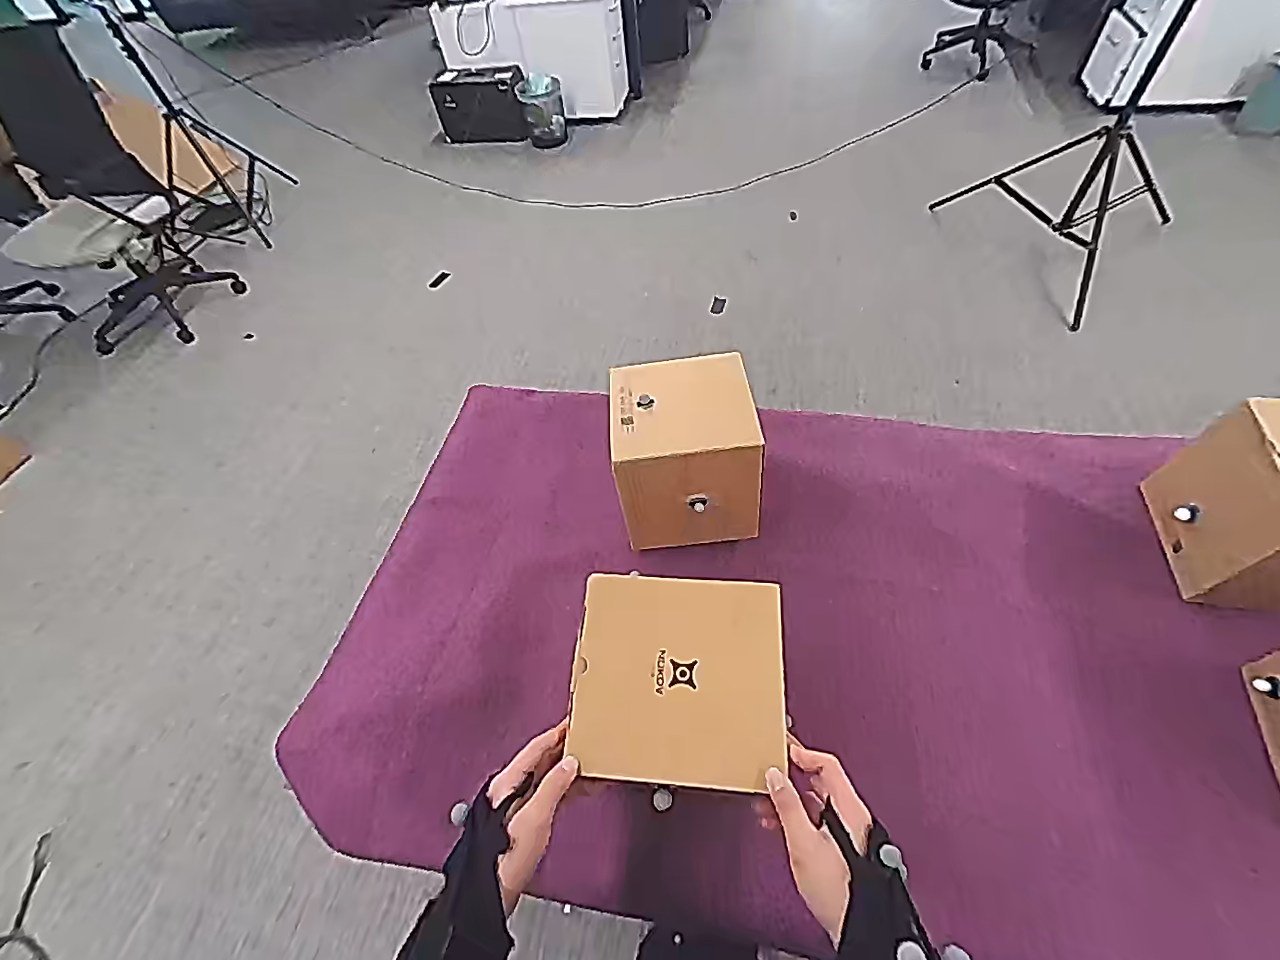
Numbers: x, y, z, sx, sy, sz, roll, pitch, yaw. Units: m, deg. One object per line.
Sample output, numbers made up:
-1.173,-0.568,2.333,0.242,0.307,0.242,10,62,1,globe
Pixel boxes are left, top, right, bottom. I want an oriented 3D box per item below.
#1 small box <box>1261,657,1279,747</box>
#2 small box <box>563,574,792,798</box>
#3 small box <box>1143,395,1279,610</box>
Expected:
0.682,0.223,0.439,0.179,0.176,0.168,11,54,14,small box
0.040,0.200,0.516,0.179,0.176,0.168,1,59,7,small box
0.710,0.033,0.577,0.179,0.176,0.168,6,55,11,small box
